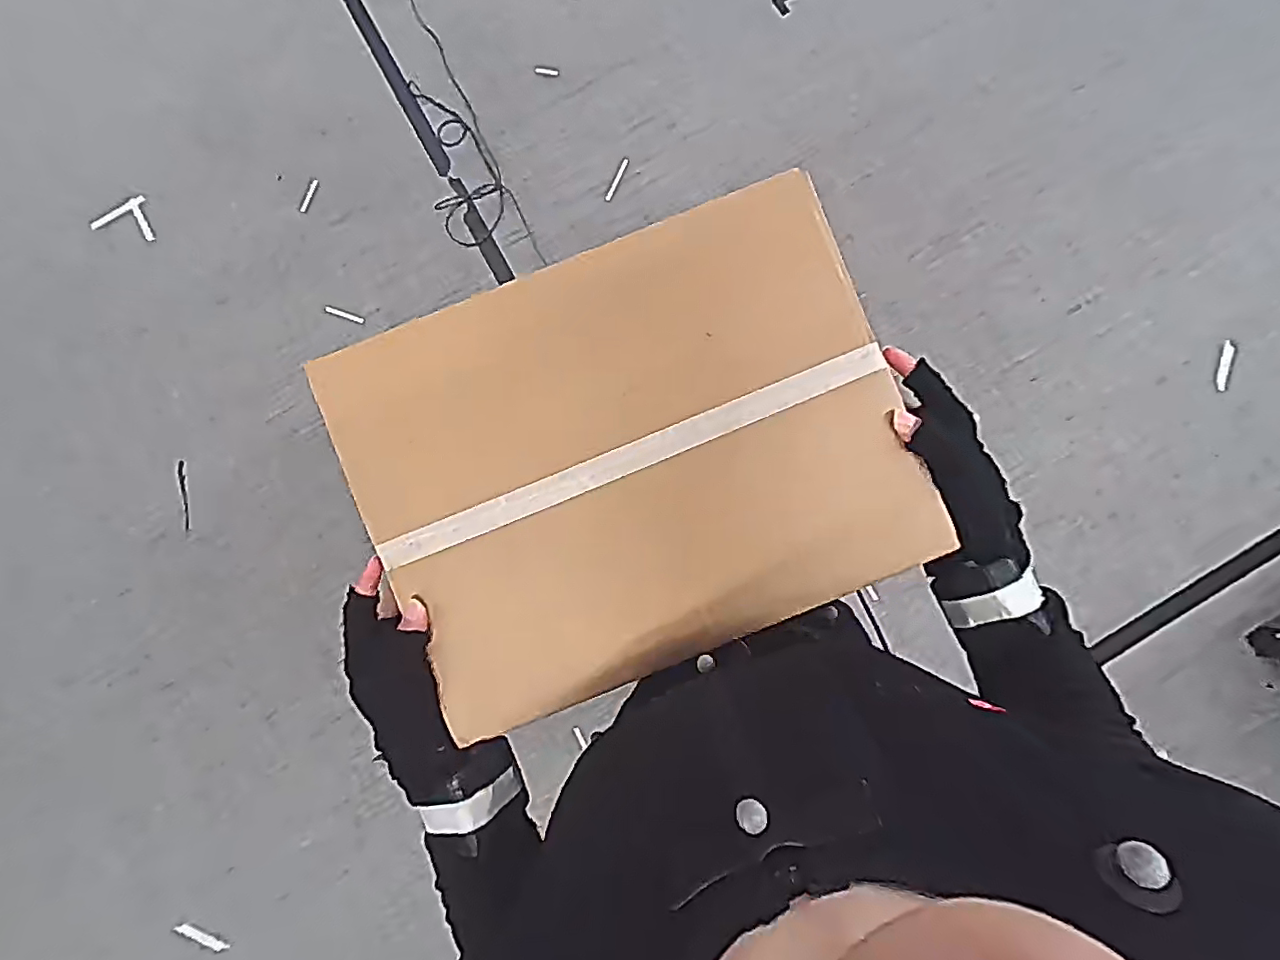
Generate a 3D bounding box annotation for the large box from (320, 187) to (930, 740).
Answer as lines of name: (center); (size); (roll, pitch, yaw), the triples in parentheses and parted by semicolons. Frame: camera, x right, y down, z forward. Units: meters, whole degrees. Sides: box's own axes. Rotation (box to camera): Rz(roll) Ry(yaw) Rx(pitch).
large box: (-0.010, -0.014, 0.567); (0.408, 0.320, 0.320); (-22, 89, 0)
